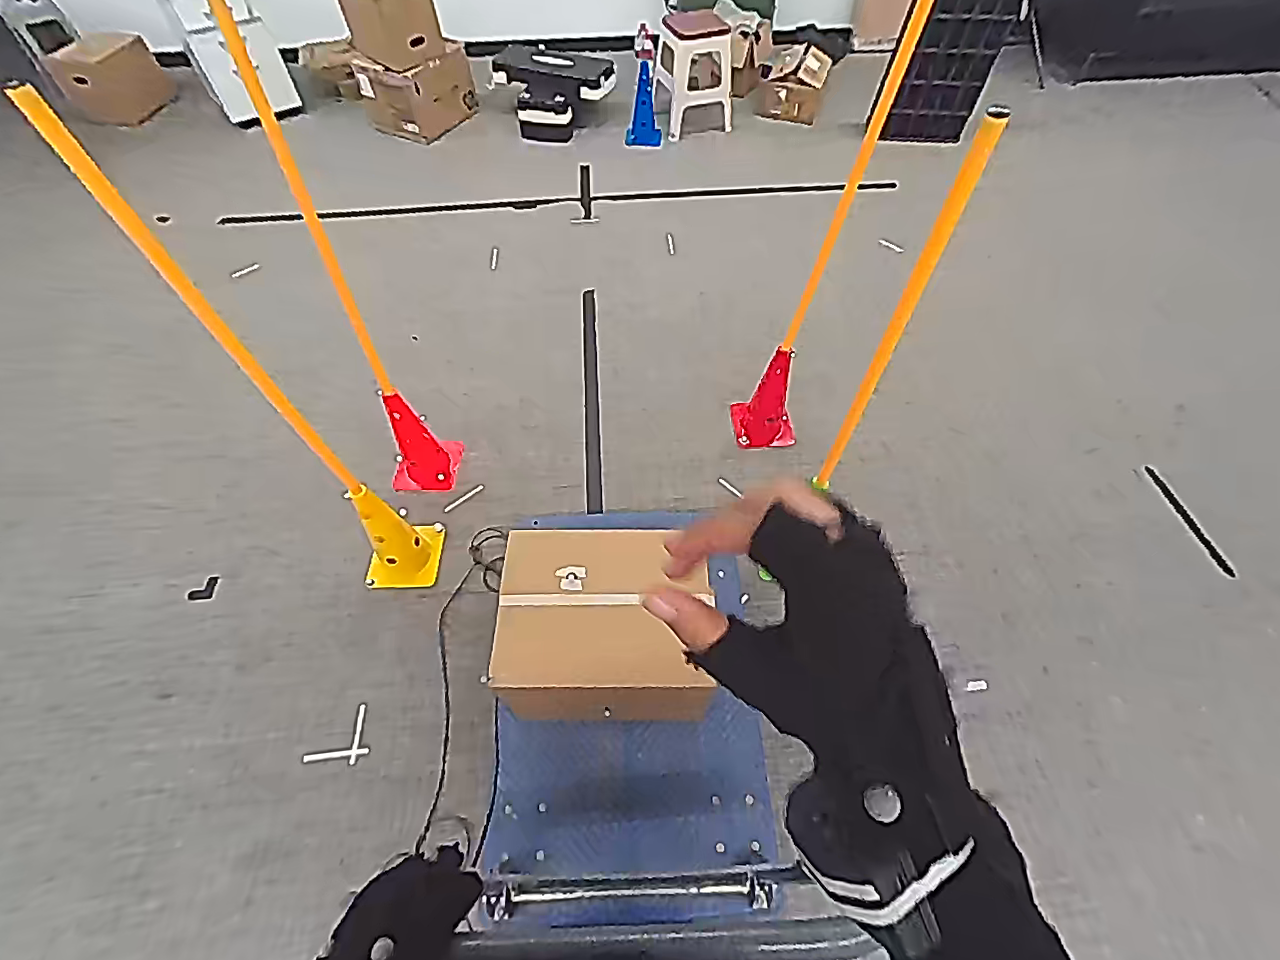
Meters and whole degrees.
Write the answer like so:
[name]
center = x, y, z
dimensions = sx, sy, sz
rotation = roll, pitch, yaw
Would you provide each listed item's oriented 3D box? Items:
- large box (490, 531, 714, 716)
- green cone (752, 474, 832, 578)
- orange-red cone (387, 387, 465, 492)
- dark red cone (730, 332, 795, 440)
[large box]
center = -0.066, 0.318, 1.160
dimensions = 0.408, 0.320, 0.320
rotation = 0, 56, 1
[green cone]
center = 0.446, 0.104, 1.476
dimensions = 0.202, 0.368, 0.200
rotation = 0, 56, -1
[orange-red cone]
center = -0.692, -0.147, 1.653
dimensions = 0.198, 0.360, 0.199
rotation = 3, 55, 1
[dark red cone]
center = 0.428, -0.307, 1.734
dimensions = 0.201, 0.394, 0.202
rotation = -3, 56, -4
